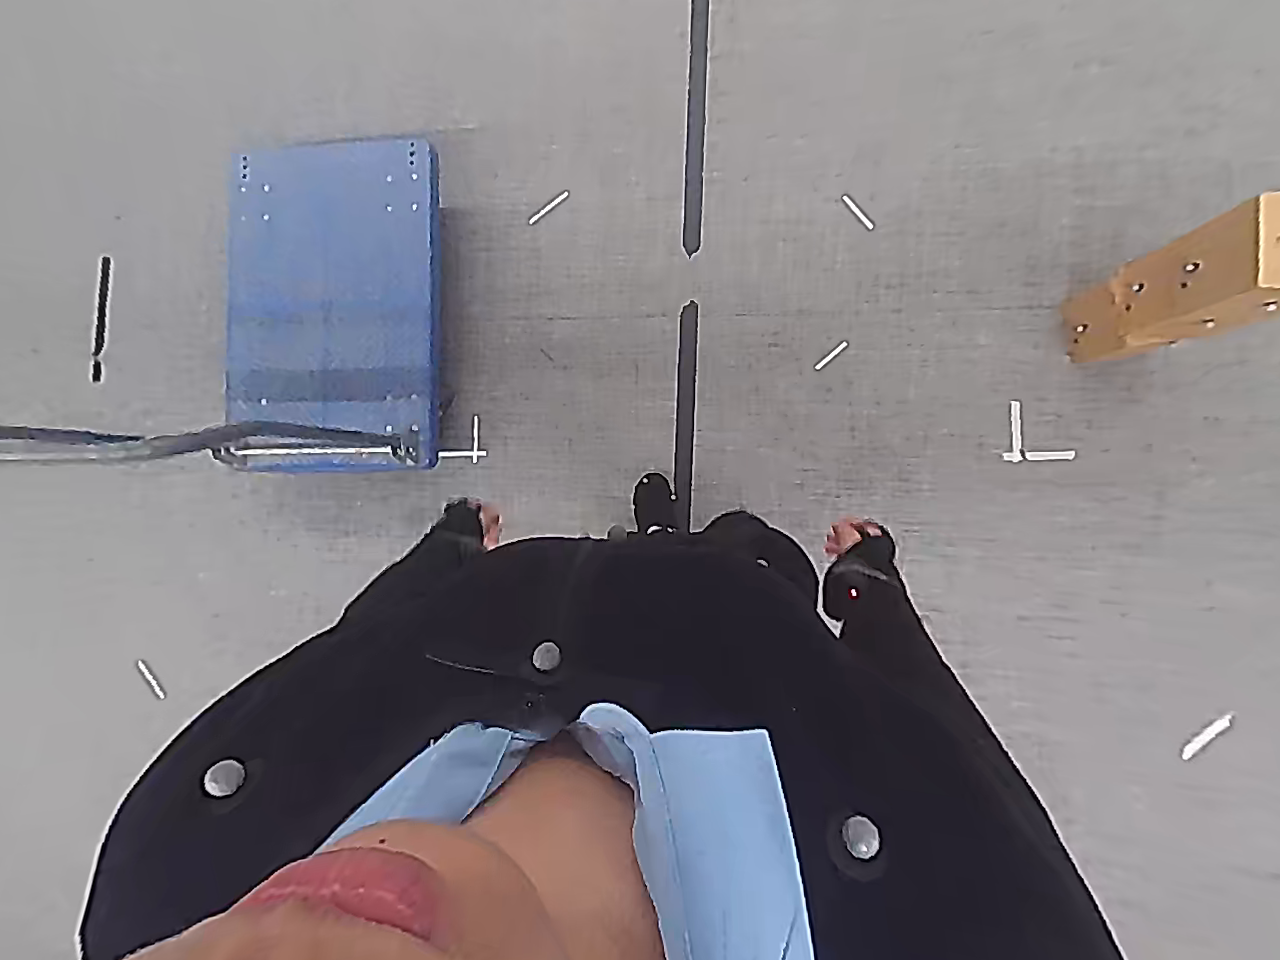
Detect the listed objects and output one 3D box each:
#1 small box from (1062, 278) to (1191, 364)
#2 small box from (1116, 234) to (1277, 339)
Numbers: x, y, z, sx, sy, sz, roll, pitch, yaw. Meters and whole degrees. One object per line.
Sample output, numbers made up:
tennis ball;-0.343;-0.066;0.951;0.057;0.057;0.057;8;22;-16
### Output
small box;1.184;-0.394;1.314;0.179;0.176;0.168;-11;86;6
small box;1.174;-0.406;1.152;0.179;0.176;0.168;2;88;6
